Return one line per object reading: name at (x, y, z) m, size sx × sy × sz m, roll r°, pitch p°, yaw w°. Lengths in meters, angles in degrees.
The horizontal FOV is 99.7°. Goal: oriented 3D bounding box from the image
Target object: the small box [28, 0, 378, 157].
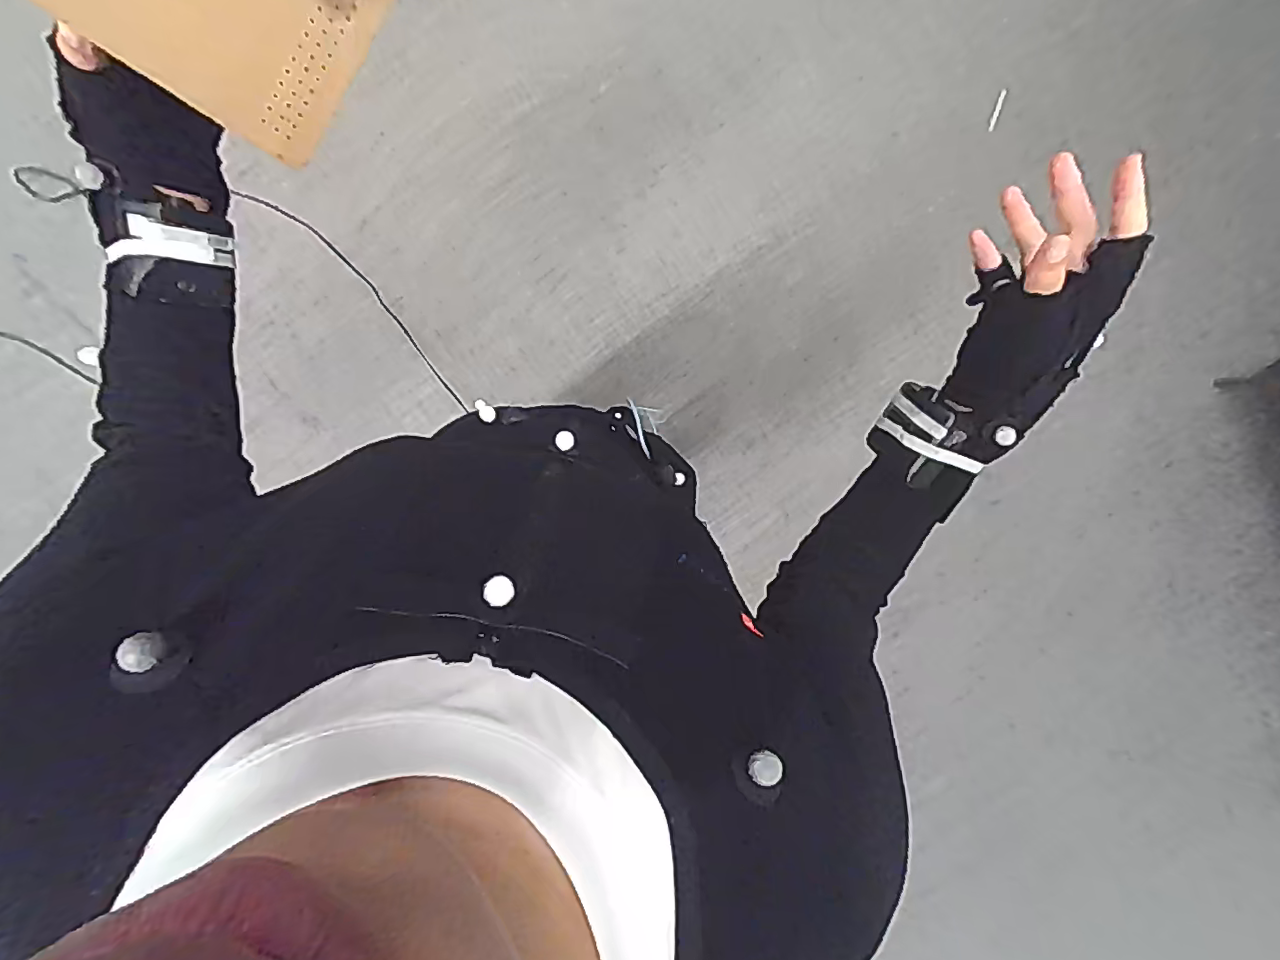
small box at (-0.217, -0.282, 0.215) m, size 0.168 × 0.176 × 0.179 m, roll 37°, pitch 99°, yaw 17°
